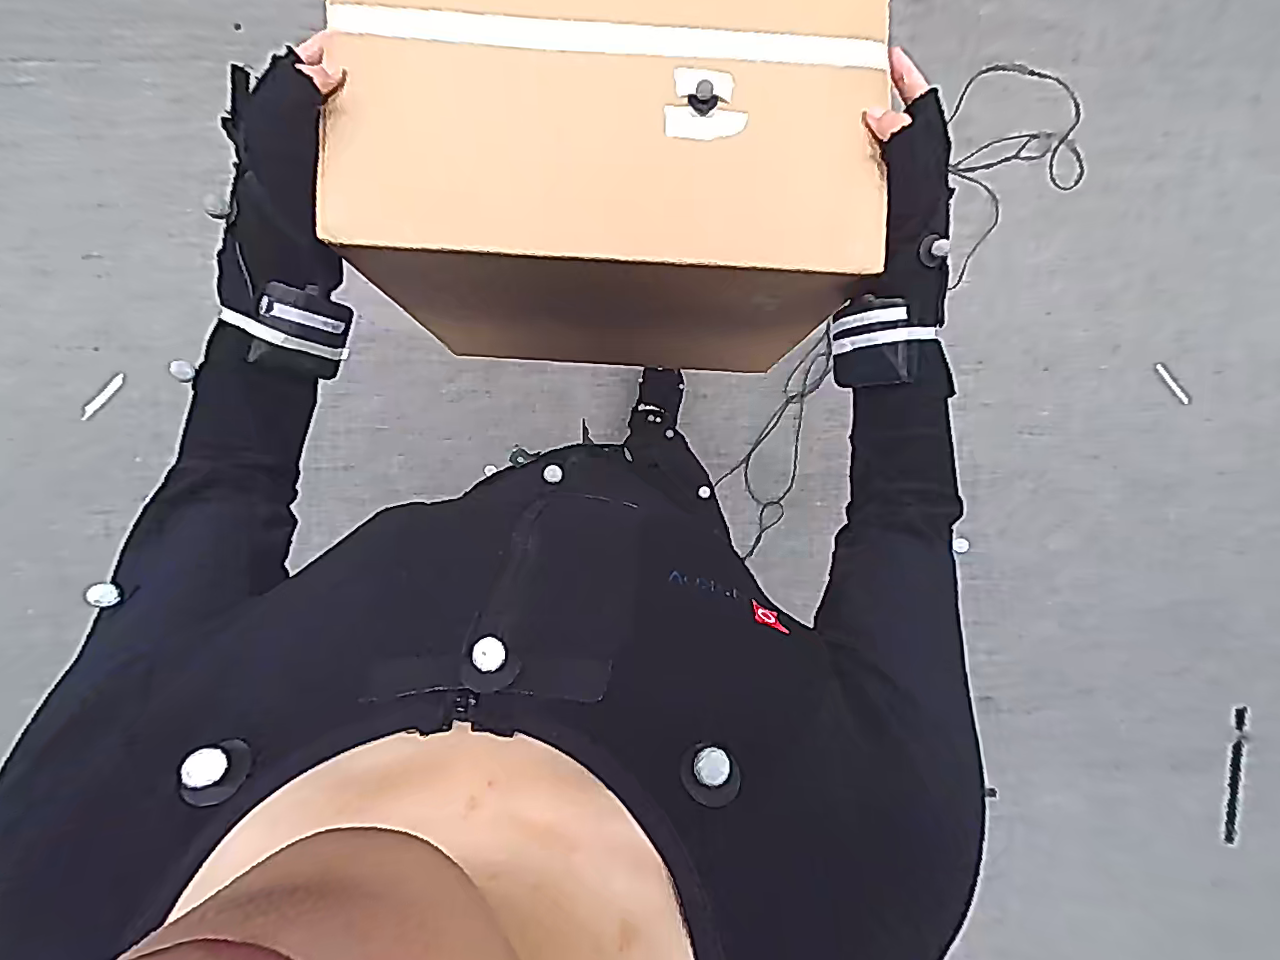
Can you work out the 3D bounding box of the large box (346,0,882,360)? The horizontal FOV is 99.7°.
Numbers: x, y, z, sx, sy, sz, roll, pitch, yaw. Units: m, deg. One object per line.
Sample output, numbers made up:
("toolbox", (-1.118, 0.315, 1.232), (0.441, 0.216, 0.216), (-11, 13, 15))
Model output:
("large box", (-0.021, -0.319, 0.557), (0.408, 0.320, 0.320), (2, 88, -2))
